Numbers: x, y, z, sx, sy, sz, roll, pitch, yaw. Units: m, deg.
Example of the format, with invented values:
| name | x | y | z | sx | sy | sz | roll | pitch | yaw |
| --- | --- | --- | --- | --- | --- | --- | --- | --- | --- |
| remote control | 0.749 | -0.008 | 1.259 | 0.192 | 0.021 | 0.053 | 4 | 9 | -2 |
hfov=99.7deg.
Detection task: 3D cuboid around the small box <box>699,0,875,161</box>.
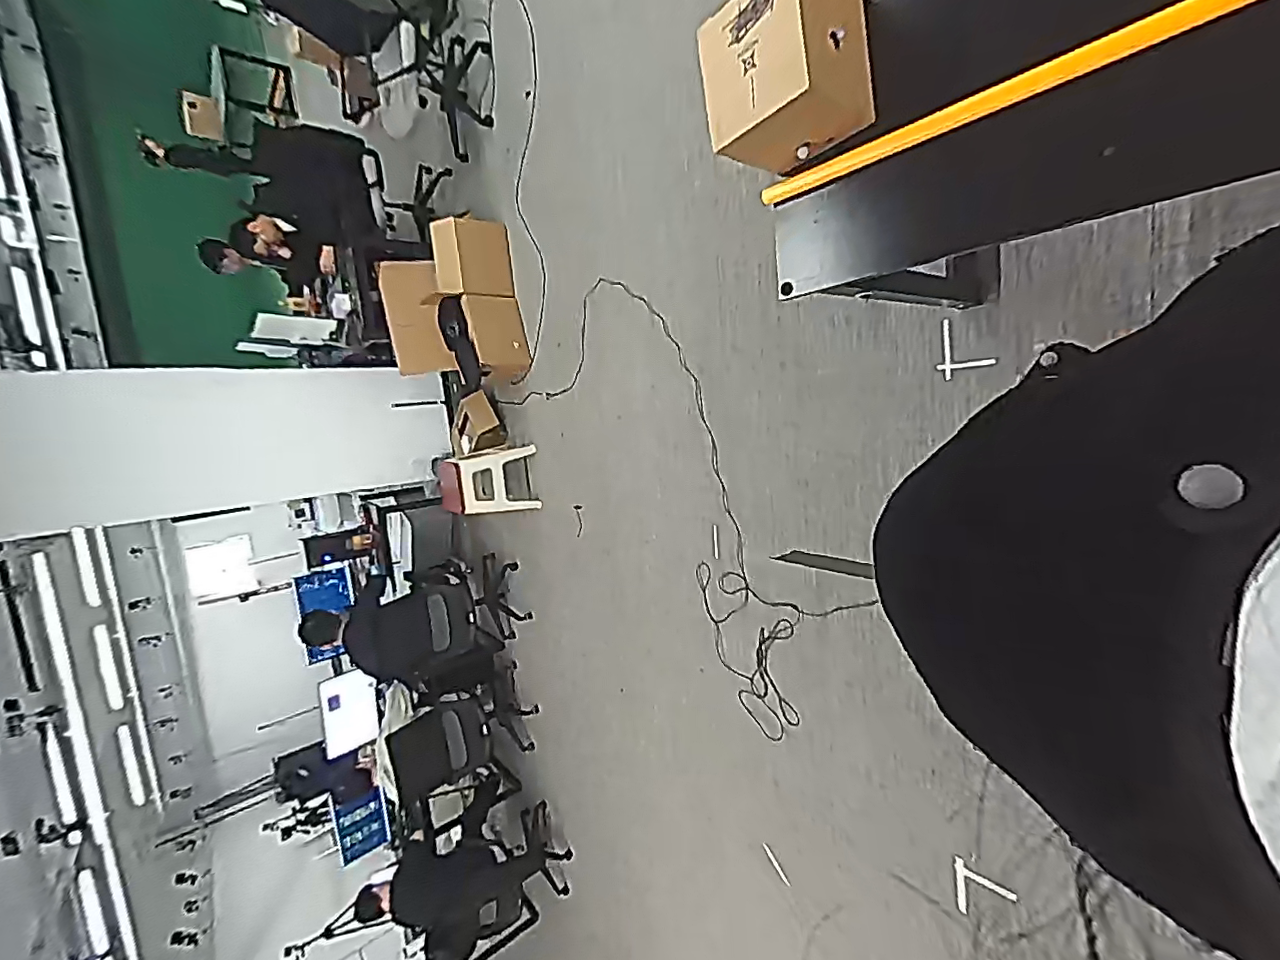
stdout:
| name | x | y | z | sx | sy | sz | roll | pitch | yaw |
| --- | --- | --- | --- | --- | --- | --- | --- | --- | --- |
| small box | 0.208 | -0.587 | 0.760 | 0.168 | 0.176 | 0.179 | -2 | 98 | 51 |
